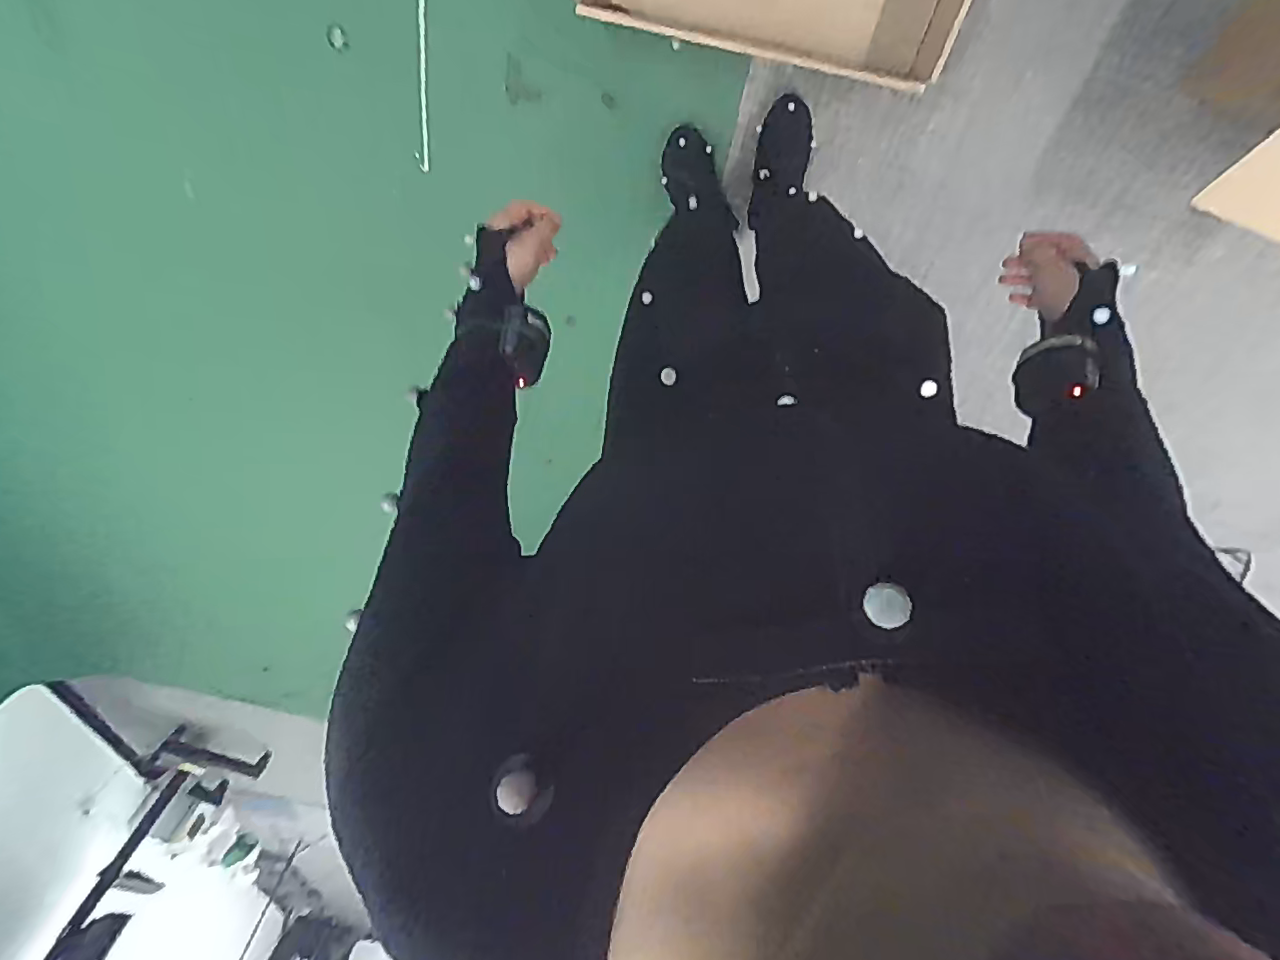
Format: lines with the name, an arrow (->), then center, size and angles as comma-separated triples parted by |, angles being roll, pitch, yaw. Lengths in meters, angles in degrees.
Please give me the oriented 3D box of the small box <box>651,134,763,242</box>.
small box -> 0.136, -0.586, 1.103 | 0.179, 0.176, 0.168 | 12, 114, 33
